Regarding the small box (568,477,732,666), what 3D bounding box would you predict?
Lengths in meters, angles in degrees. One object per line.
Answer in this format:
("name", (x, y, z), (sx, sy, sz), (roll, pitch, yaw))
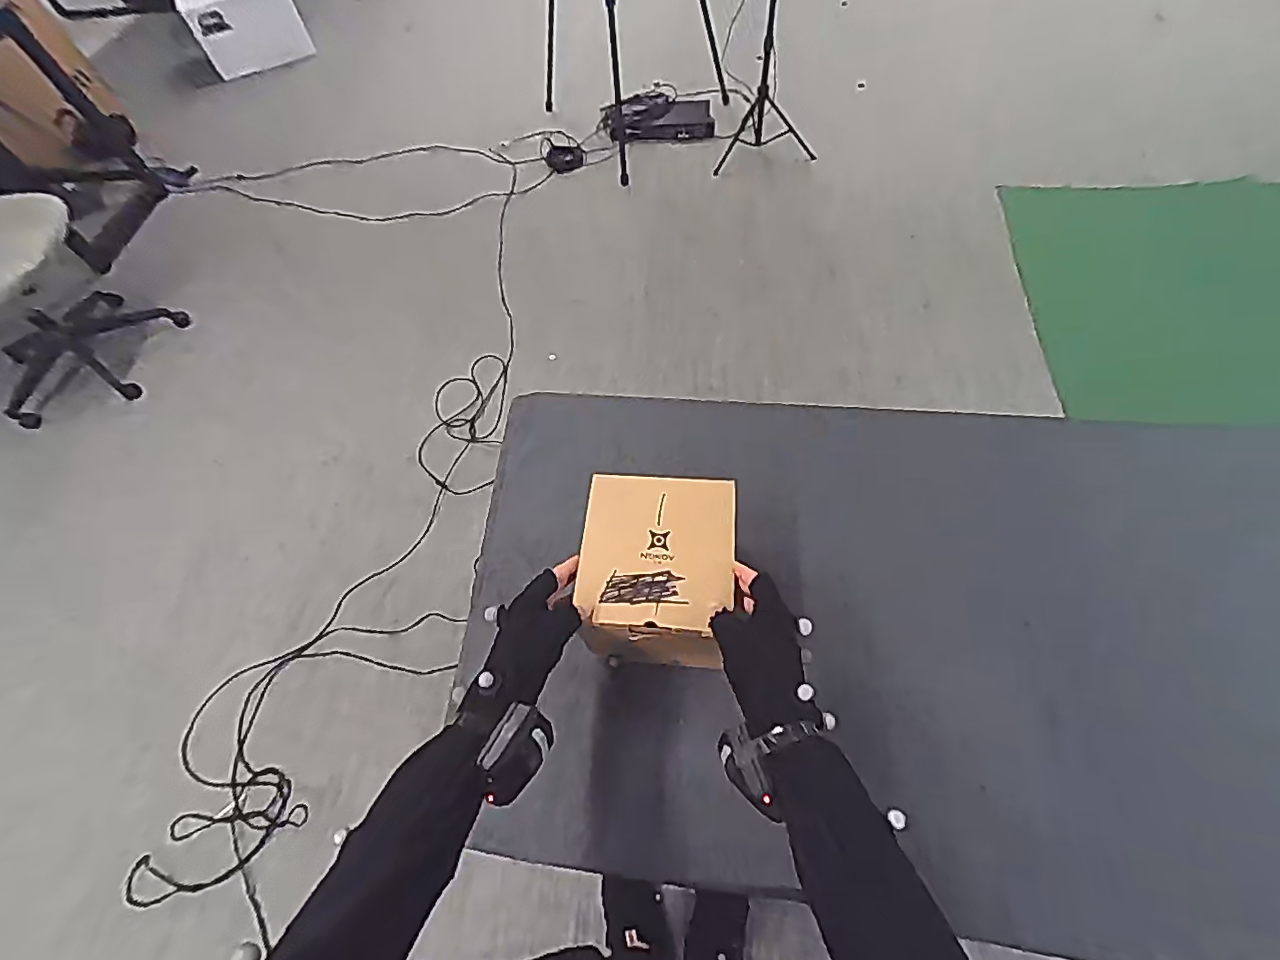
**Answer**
("small box", (0.021, 0.115, 0.646), (0.168, 0.176, 0.179), (3, 60, 6))
